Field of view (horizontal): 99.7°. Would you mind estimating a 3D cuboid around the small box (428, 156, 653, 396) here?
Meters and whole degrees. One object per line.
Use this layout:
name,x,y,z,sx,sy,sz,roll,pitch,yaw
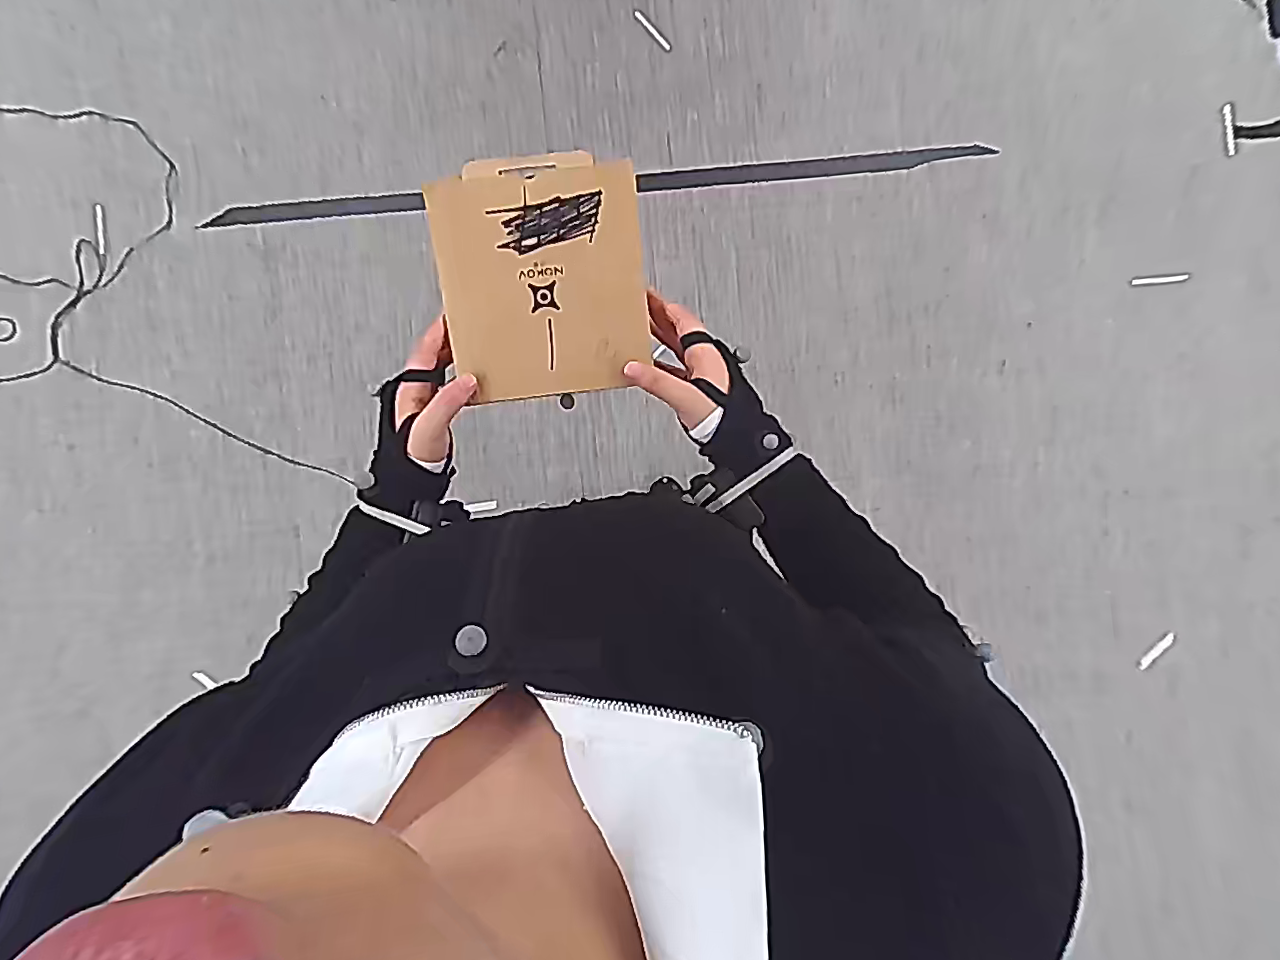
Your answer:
small box,-0.081,-0.176,0.516,0.168,0.176,0.179,-6,101,0
